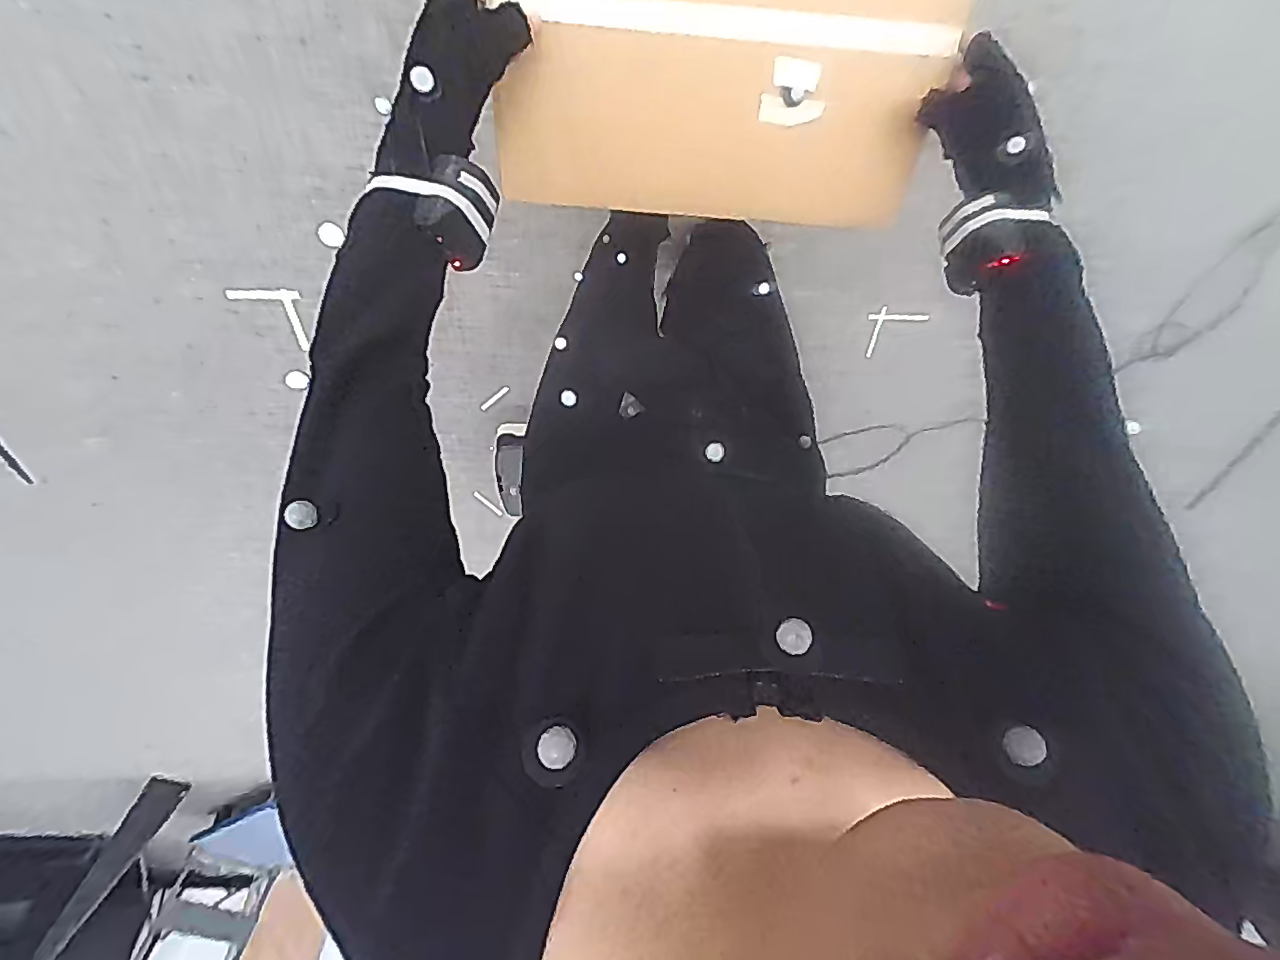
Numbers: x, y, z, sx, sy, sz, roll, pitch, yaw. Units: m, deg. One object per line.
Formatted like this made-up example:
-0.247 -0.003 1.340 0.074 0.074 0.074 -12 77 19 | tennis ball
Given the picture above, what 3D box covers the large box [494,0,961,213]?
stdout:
0.067 -0.499 0.570 0.408 0.320 0.320 2 133 -4 | large box
